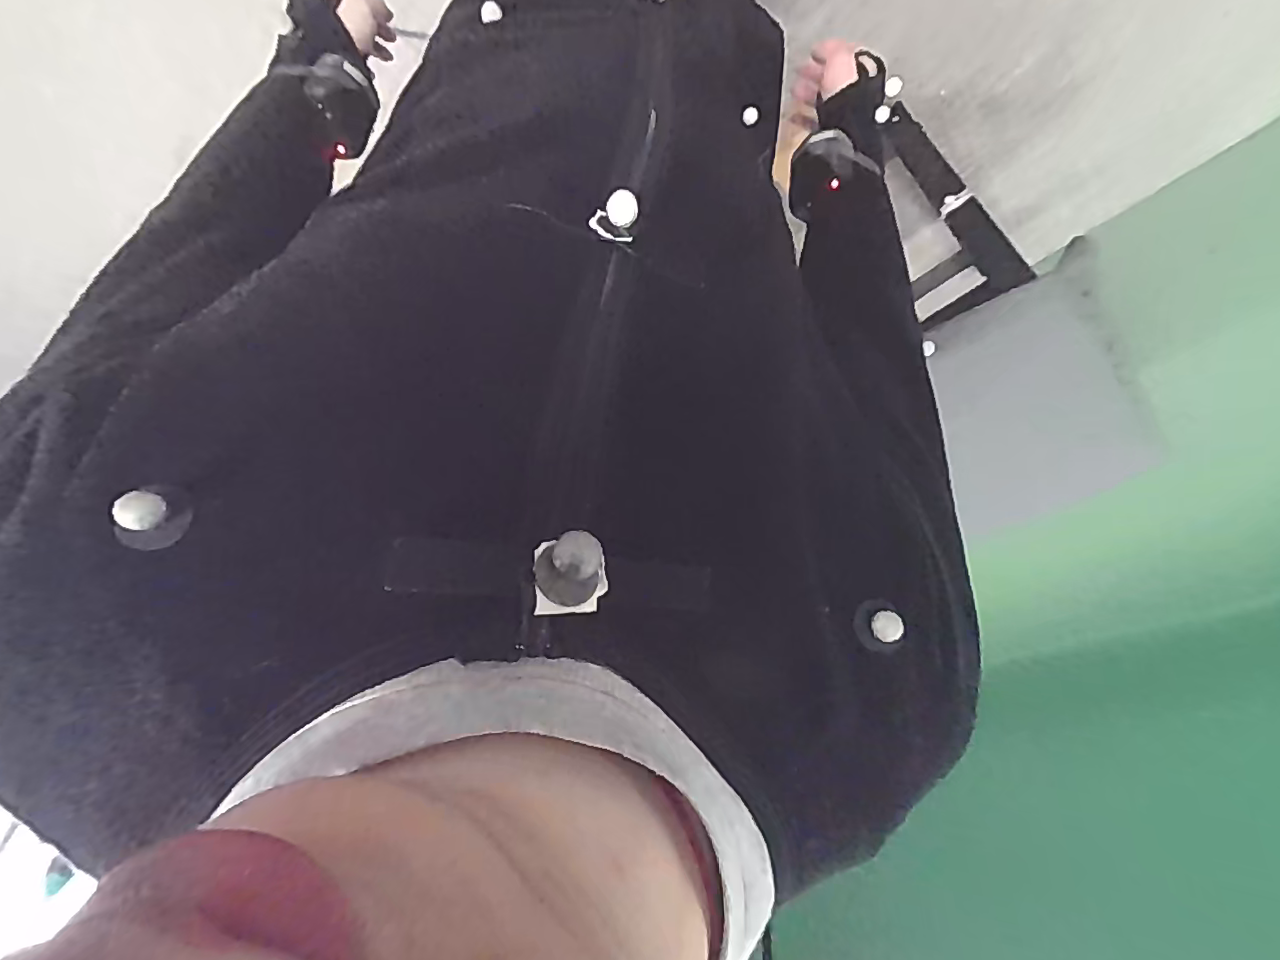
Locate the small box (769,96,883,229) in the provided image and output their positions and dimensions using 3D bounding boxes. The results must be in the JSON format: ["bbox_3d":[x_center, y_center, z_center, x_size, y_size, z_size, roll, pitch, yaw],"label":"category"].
[{"bbox_3d":[0.405,-0.709,1.200,0.168,0.176,0.179,-29,134,33],"label":"small box"}]
